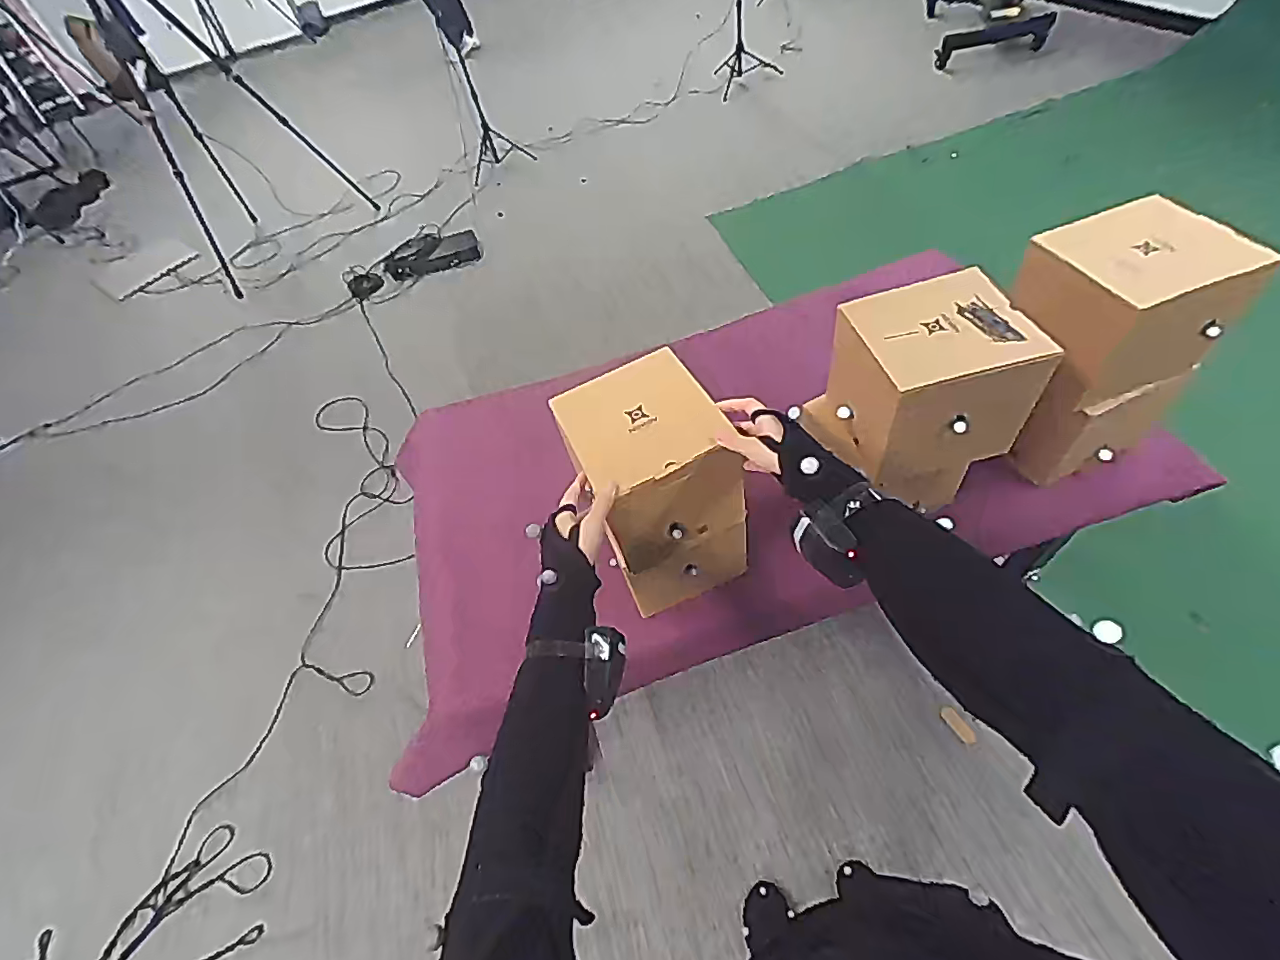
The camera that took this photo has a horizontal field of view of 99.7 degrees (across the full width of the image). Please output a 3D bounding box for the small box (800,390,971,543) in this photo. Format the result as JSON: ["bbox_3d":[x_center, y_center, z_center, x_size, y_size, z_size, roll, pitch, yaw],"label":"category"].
[{"bbox_3d":[0.358,-0.038,0.812,0.168,0.176,0.179,-26,52,-7],"label":"small box"}]

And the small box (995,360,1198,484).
[{"bbox_3d":[0.643,-0.126,0.813,0.179,0.176,0.168,-24,53,-5],"label":"small box"}]

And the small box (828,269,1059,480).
[{"bbox_3d":[0.351,-0.124,0.670,0.179,0.176,0.168,-15,51,3],"label":"small box"}]

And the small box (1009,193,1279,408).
[{"bbox_3d":[0.600,-0.223,0.688,0.179,0.176,0.168,-20,53,-1],"label":"small box"}]
